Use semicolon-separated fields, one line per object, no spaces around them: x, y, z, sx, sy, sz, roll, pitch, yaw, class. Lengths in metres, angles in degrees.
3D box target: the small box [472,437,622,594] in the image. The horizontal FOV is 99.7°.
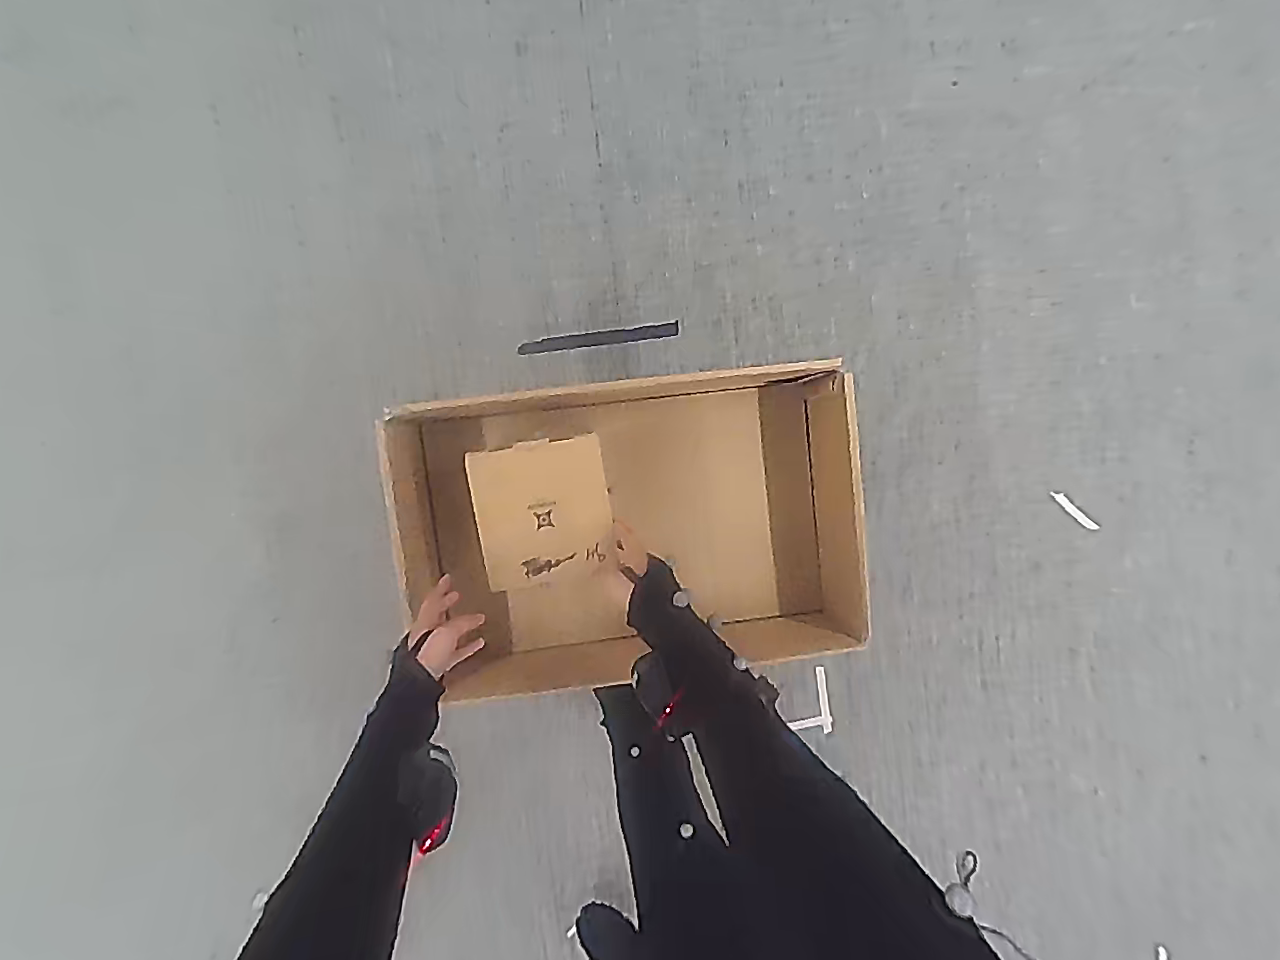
-0.121;0.040;0.748;0.168;0.176;0.179;-9;95;-3;small box
